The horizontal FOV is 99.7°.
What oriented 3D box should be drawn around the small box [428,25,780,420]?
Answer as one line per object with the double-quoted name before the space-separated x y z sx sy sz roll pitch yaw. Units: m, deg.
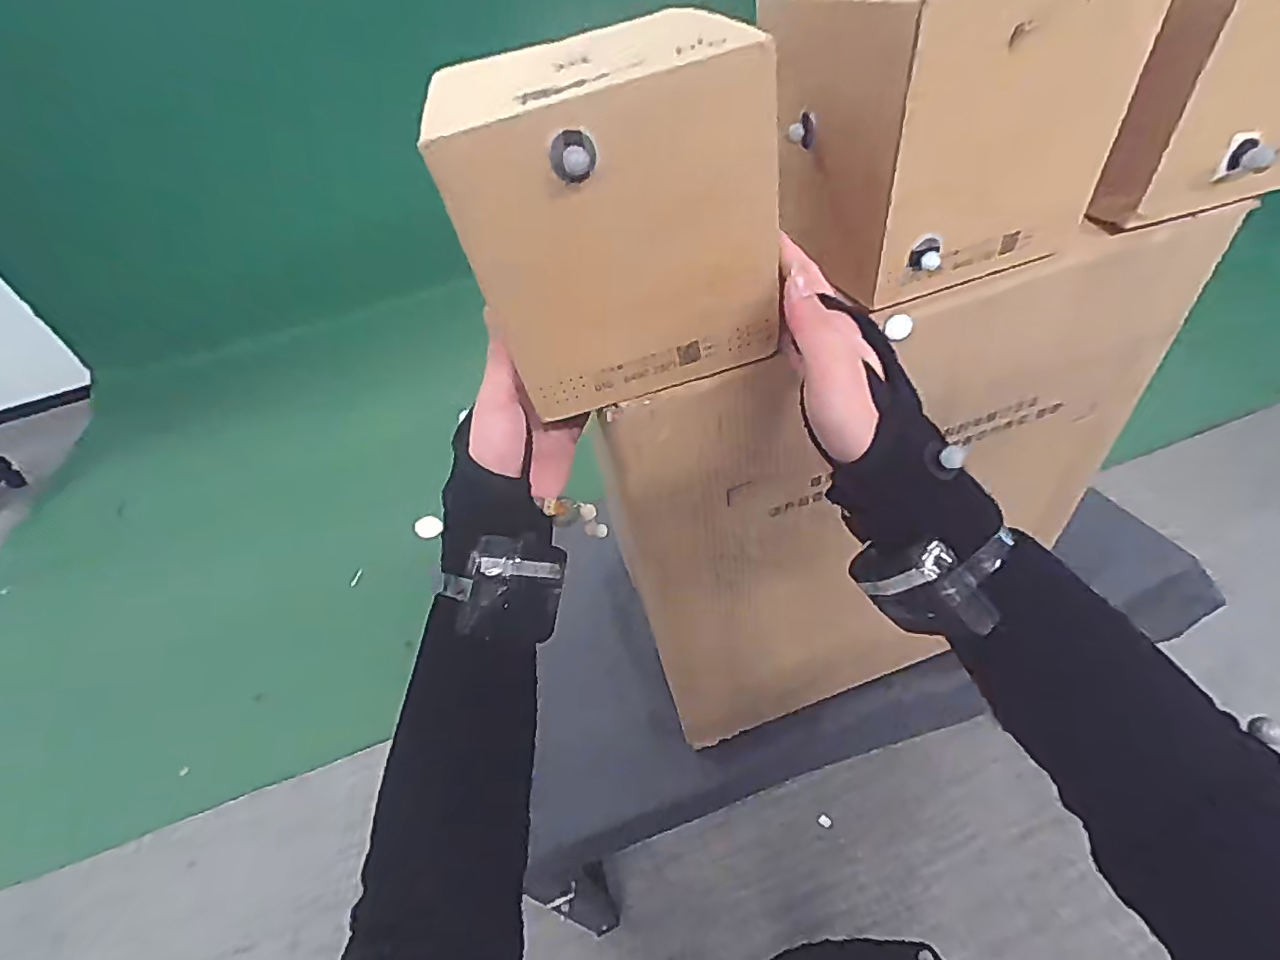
"small box" -0.016 -0.169 0.359 0.168 0.176 0.179 -17 44 1
